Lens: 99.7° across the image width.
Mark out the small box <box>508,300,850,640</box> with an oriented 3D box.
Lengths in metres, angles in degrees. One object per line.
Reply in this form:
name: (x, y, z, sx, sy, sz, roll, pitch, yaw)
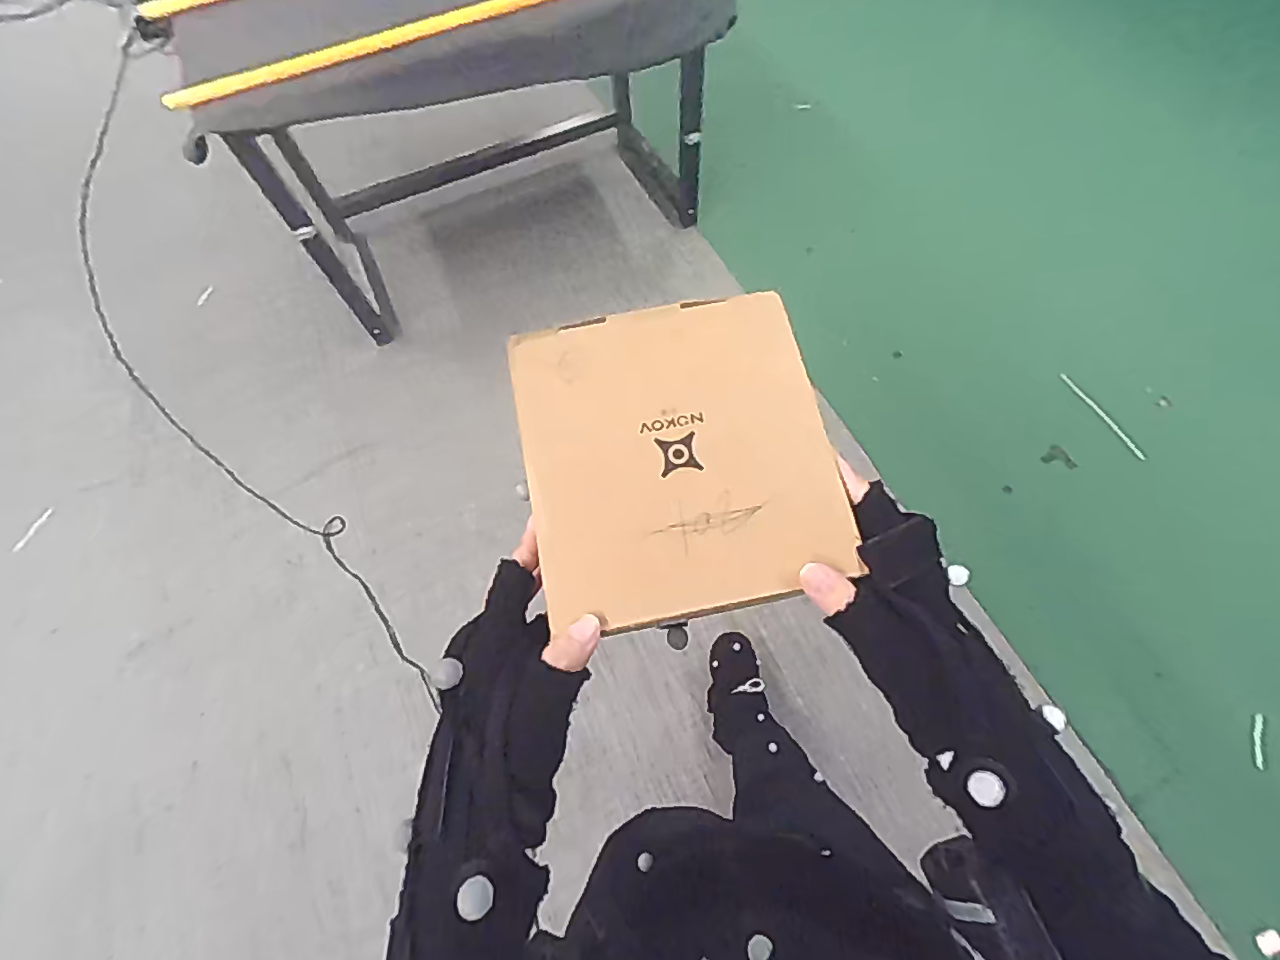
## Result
small box: (0.014, 0.007, 0.380, 0.168, 0.176, 0.179, -11, 73, -4)
